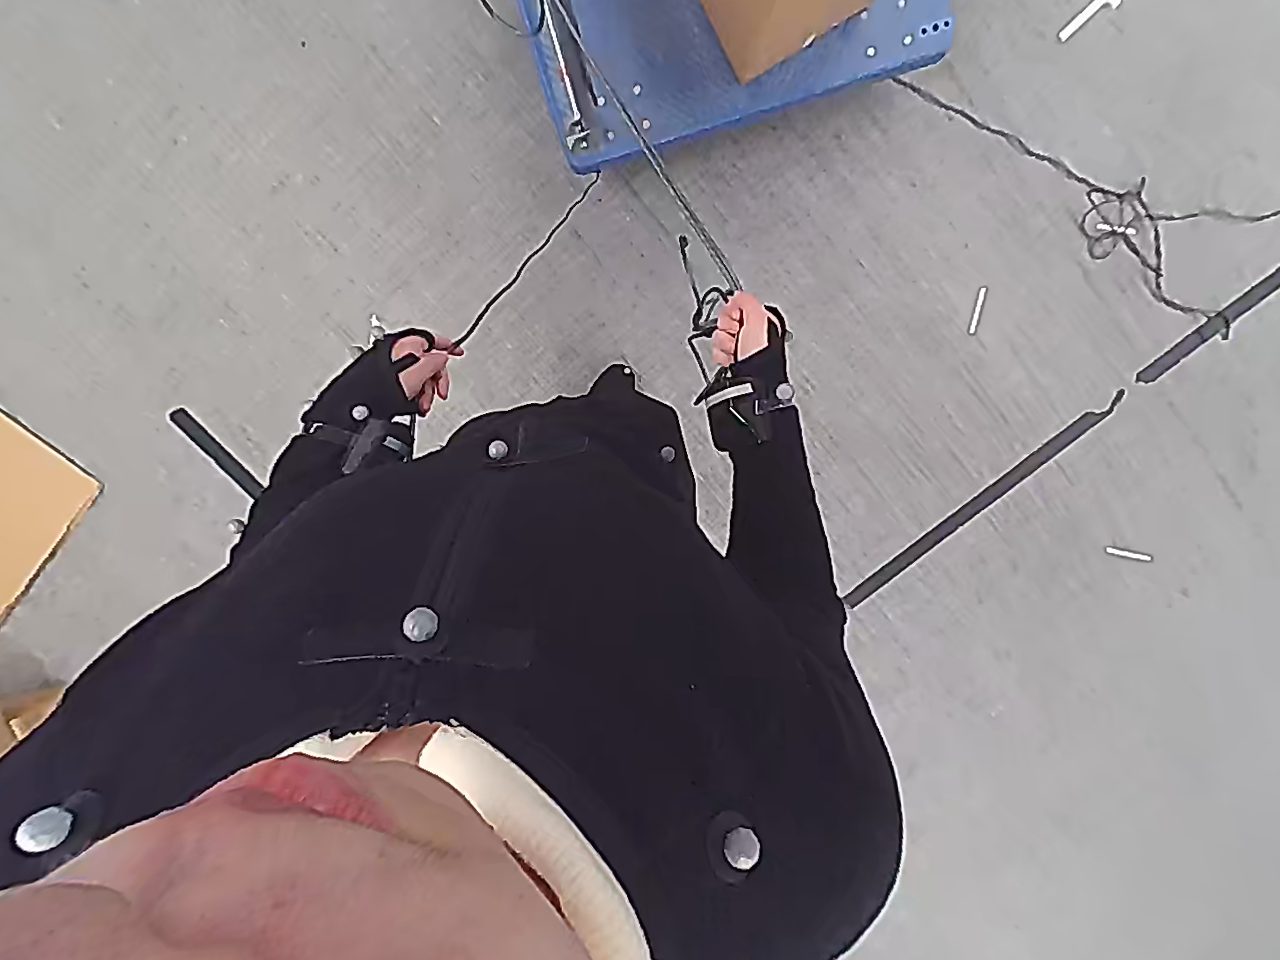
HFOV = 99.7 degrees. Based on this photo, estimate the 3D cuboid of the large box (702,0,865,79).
[{"bbox_3d":[0.248,-1.060,0.958,0.320,0.320,0.408,-31,101,6],"label":"large box"}]
